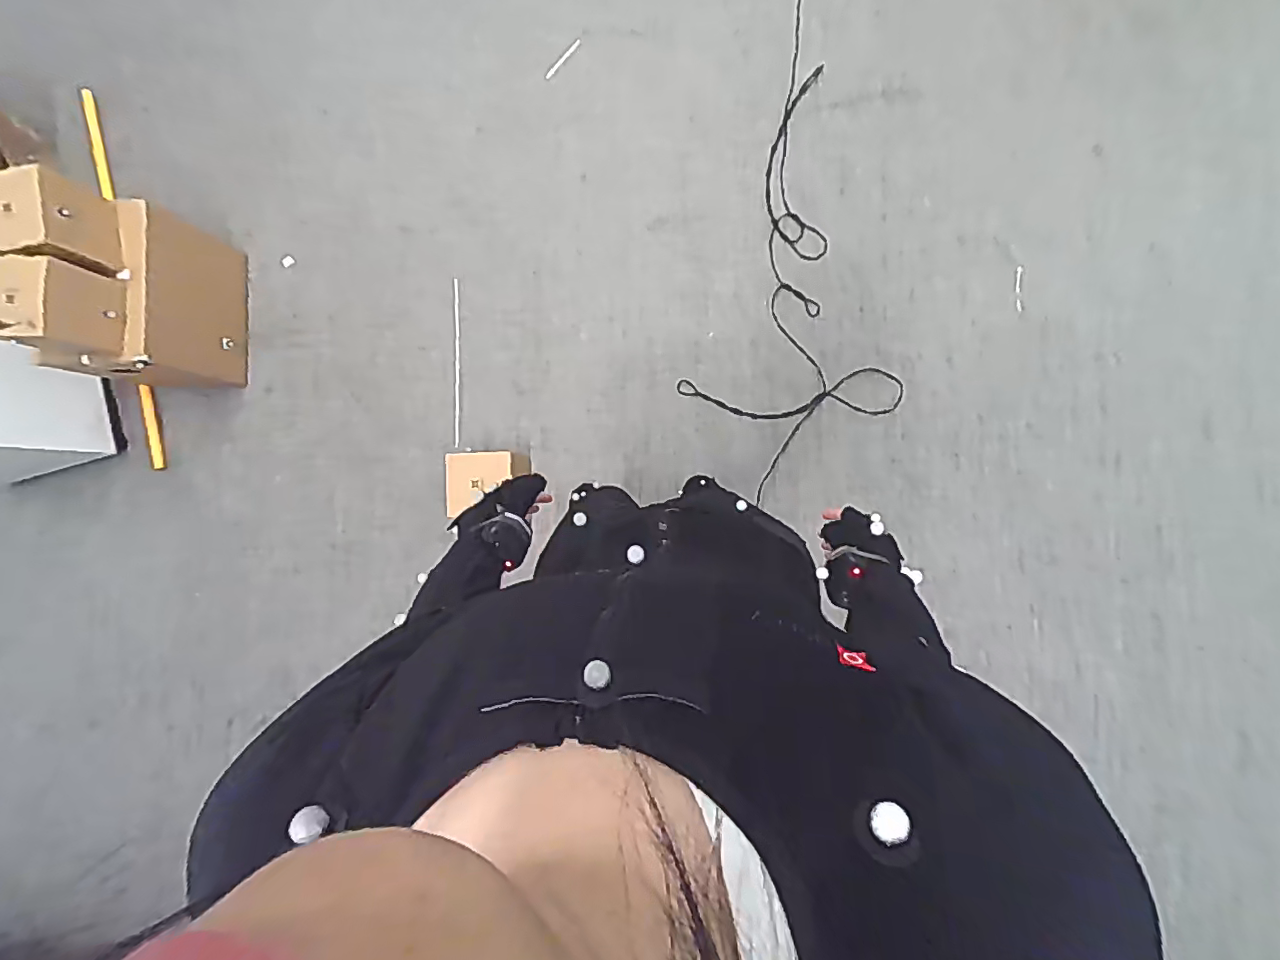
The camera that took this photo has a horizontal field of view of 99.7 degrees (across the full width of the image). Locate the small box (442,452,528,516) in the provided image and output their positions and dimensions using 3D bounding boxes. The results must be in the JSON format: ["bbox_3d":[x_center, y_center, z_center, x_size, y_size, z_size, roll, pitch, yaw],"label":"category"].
[{"bbox_3d":[-0.410,0.013,1.445,0.179,0.176,0.168,-2,90,5],"label":"small box"}]
